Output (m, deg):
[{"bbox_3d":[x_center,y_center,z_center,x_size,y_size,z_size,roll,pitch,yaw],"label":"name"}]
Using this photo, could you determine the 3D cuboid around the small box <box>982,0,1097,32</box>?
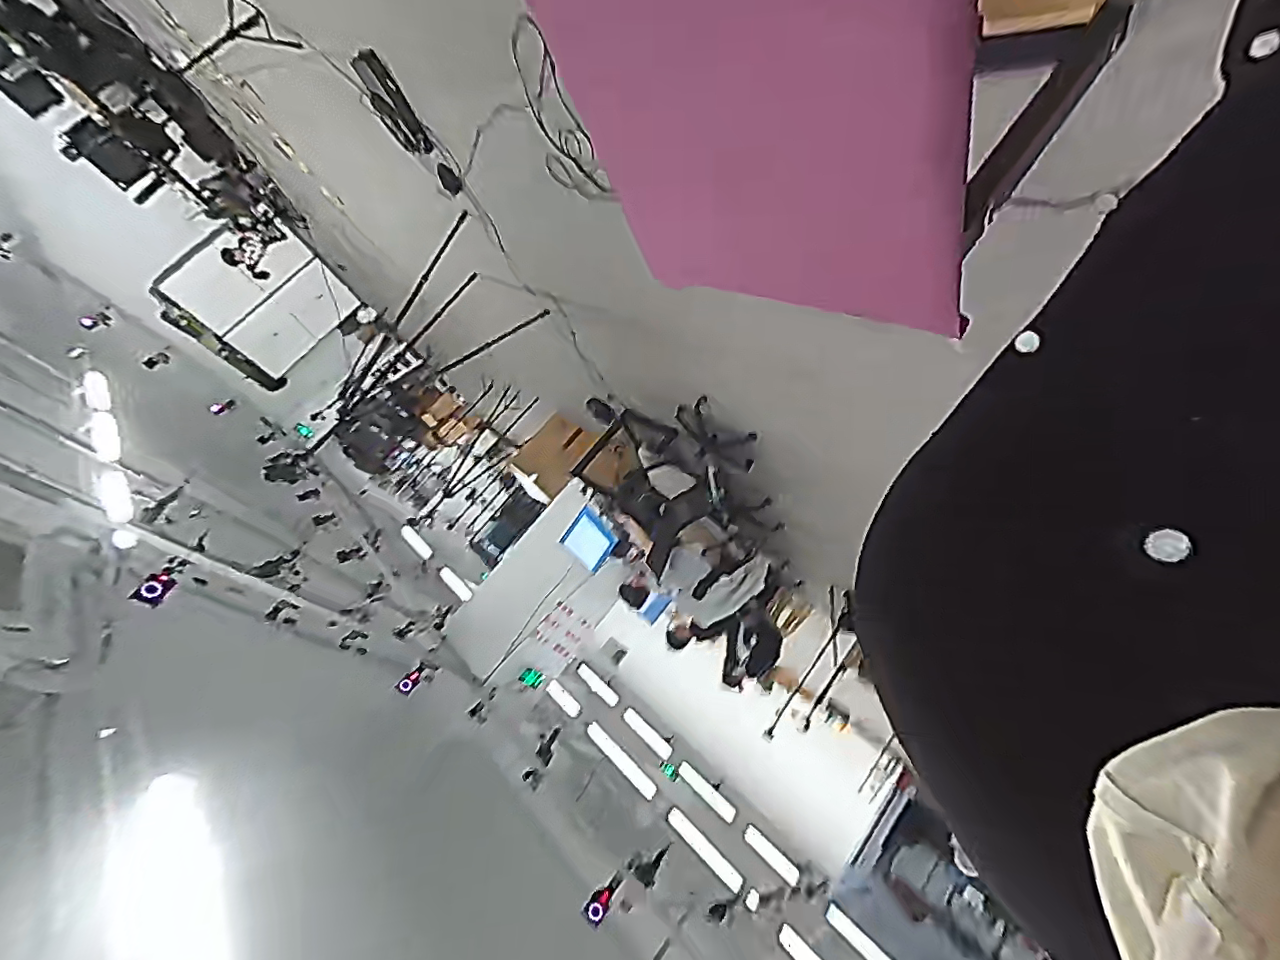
[{"bbox_3d":[0.678,-0.871,0.862,0.168,0.176,0.179,30,164,40],"label":"small box"}]
